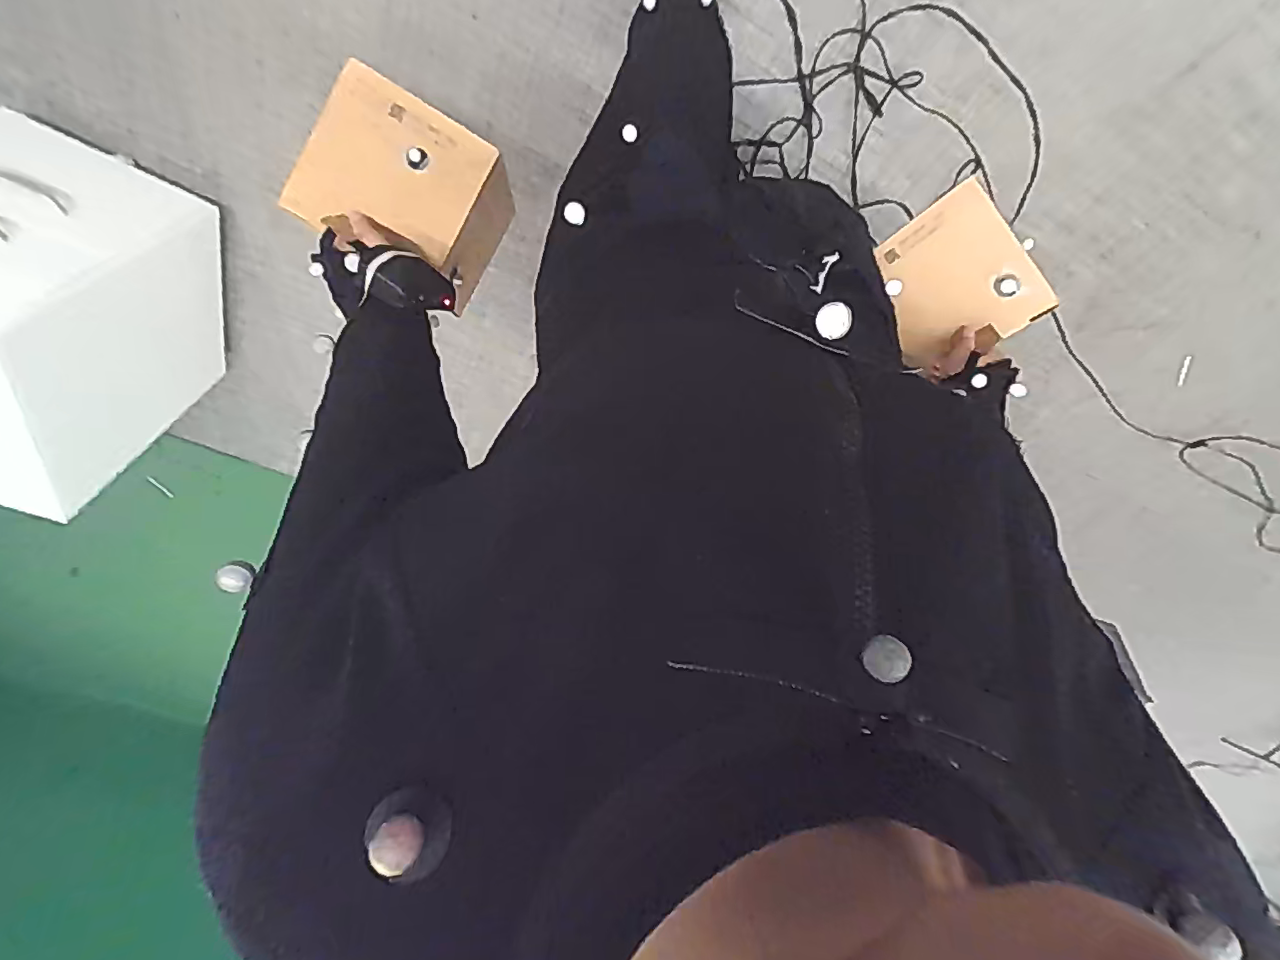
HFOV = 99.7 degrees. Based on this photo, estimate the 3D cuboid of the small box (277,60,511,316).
[{"bbox_3d":[-0.264,-0.321,0.631,0.168,0.179,0.176,29,92,-10],"label":"small box"}]
